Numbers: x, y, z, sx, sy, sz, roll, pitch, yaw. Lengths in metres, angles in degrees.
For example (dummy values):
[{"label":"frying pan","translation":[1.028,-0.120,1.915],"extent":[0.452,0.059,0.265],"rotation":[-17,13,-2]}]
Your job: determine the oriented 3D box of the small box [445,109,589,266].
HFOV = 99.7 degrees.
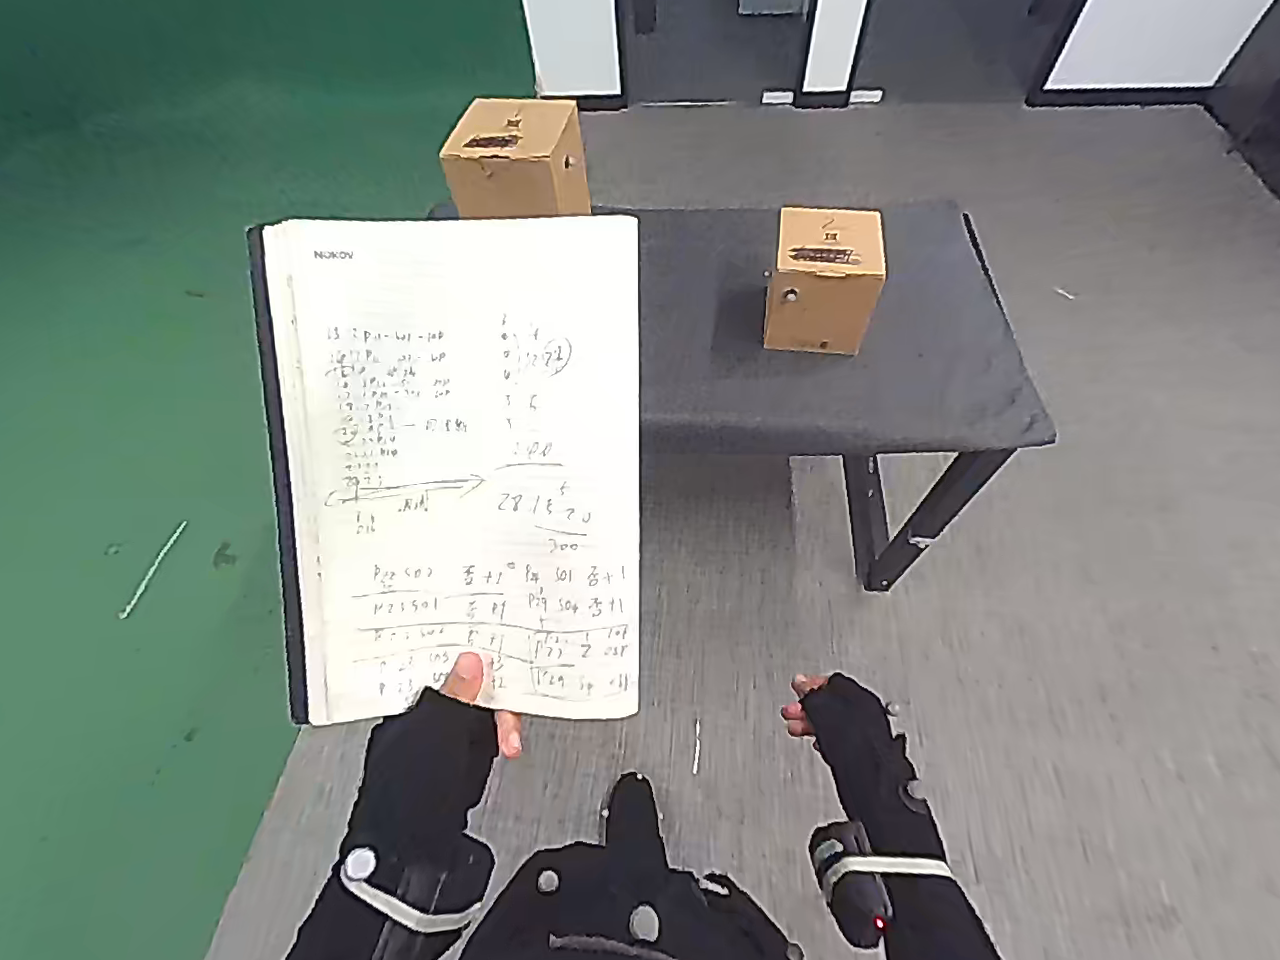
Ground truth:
[{"label":"small box","translation":[-0.183,-0.467,0.871],"extent":[0.168,0.176,0.179],"rotation":[6,56,7]}]
